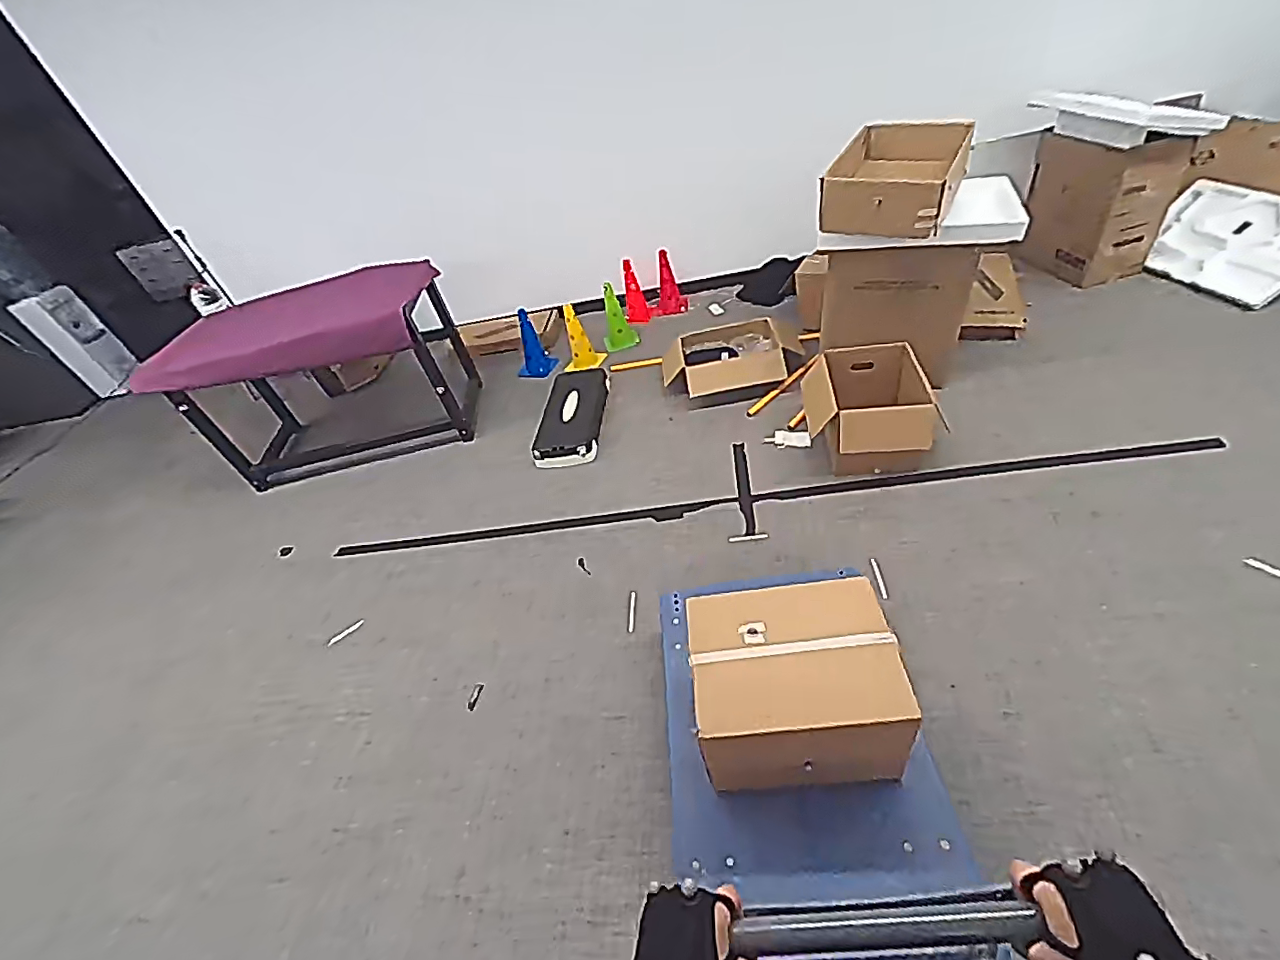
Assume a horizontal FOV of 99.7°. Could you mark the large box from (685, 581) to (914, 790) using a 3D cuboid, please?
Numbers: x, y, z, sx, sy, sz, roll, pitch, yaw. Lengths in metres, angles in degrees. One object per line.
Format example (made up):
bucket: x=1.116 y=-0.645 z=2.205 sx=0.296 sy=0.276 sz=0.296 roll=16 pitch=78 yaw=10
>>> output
large box: x=0.335 y=0.466 z=1.211 sx=0.408 sy=0.320 sz=0.320 roll=-10 pitch=42 yaw=8
